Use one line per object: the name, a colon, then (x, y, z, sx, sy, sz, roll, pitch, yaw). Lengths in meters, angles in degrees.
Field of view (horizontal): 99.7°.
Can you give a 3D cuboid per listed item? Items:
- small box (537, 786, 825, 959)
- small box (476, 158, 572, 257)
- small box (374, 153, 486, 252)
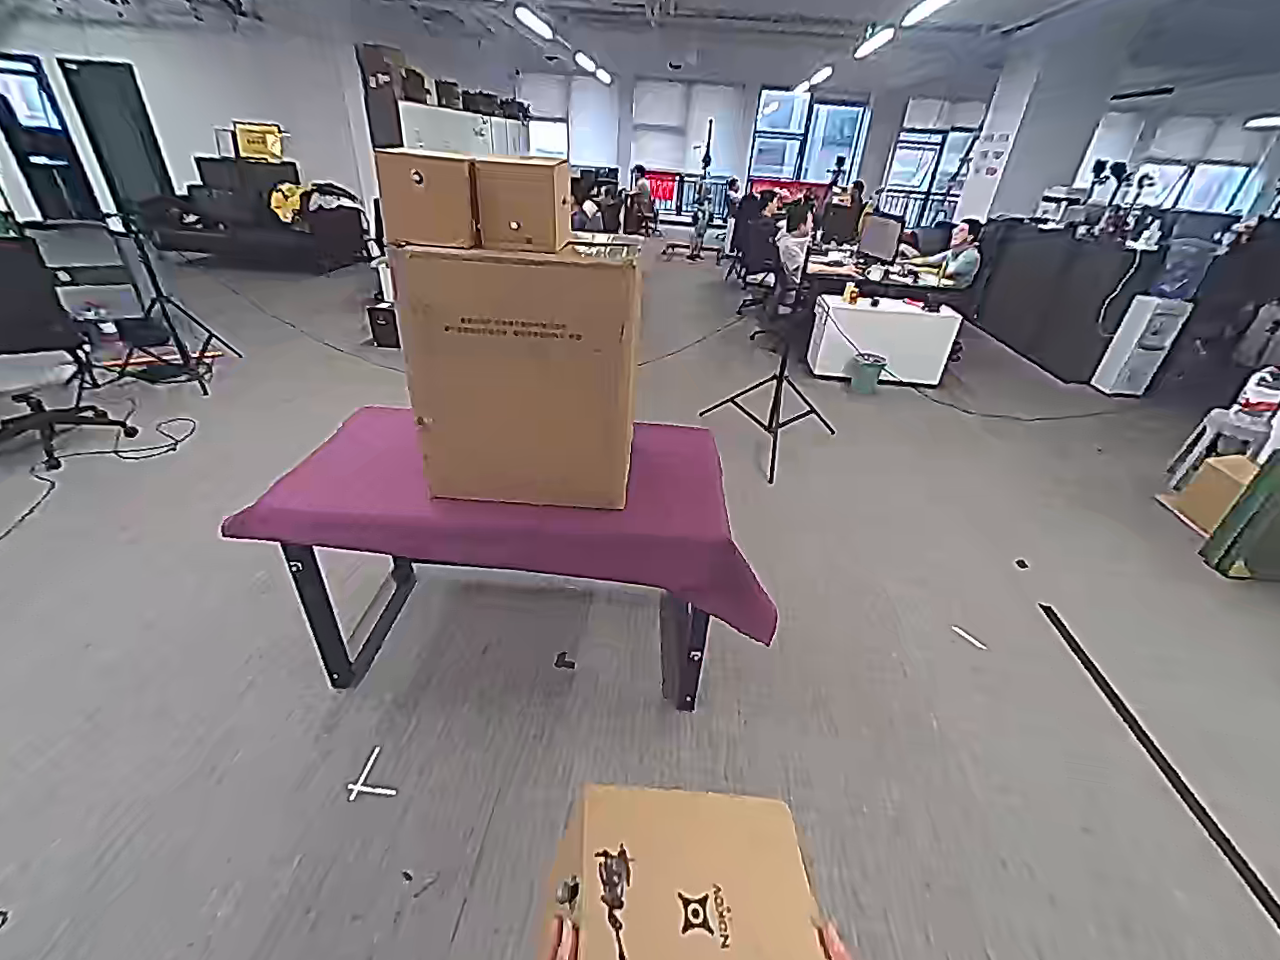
small box: (0.021, 0.365, 0.407, 0.179, 0.176, 0.168, 12, 29, -11)
small box: (-0.247, -0.604, 1.194, 0.168, 0.176, 0.179, 5, 34, 2)
small box: (-0.436, -0.593, 1.156, 0.179, 0.176, 0.168, 5, 32, -3)
